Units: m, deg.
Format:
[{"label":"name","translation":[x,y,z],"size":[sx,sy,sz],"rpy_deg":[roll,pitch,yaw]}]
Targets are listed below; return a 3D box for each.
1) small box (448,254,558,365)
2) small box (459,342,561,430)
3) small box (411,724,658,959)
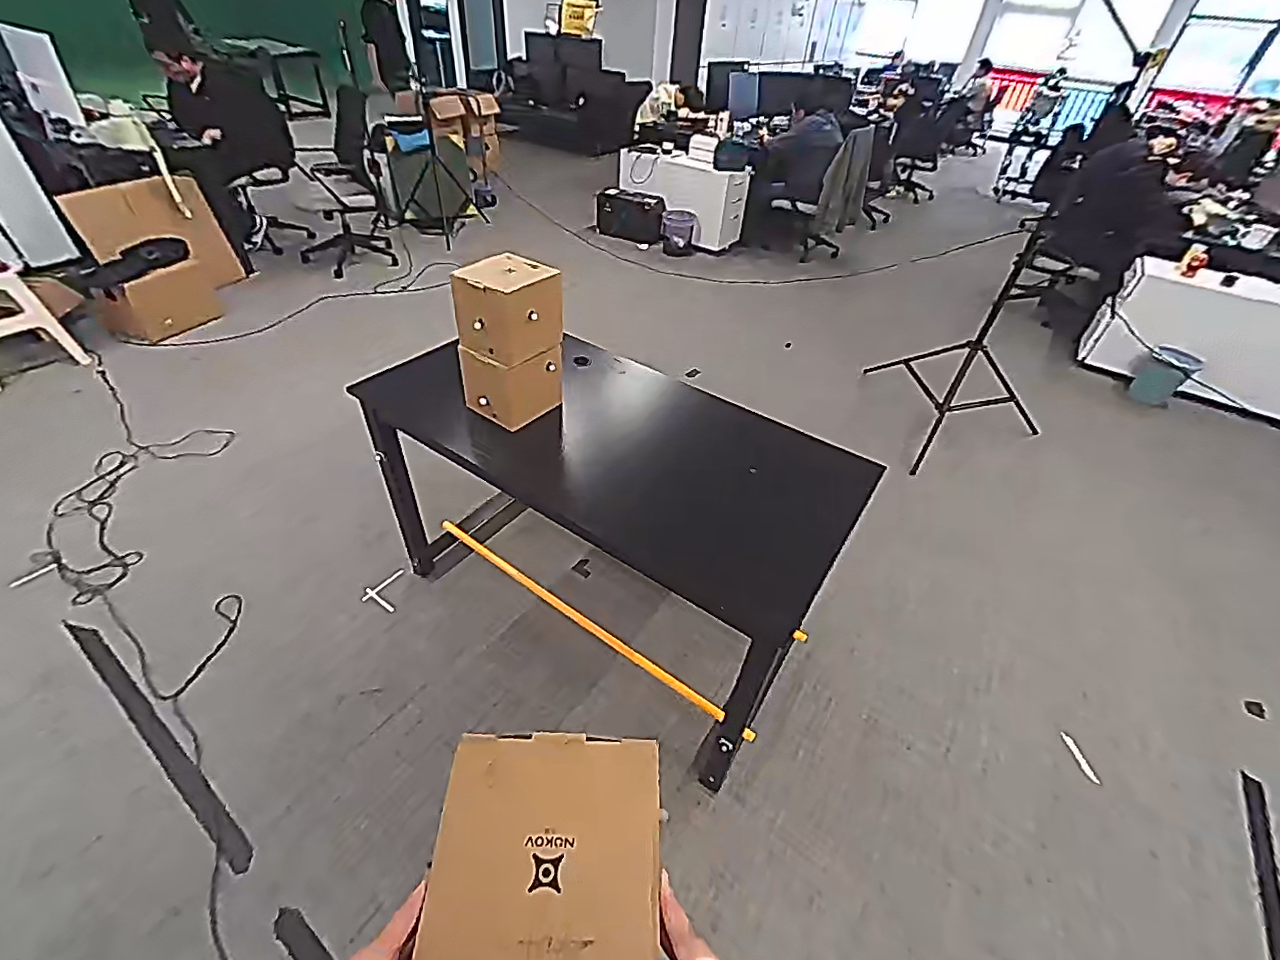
[{"label":"small box","translation":[-0.294,-0.379,1.206],"size":[0.168,0.176,0.179],"rpy_deg":[26,46,22]},{"label":"small box","translation":[-0.310,-0.250,1.308],"size":[0.168,0.176,0.179],"rpy_deg":[28,46,24]},{"label":"small box","translation":[-0.075,0.324,0.458],"size":[0.168,0.176,0.179],"rpy_deg":[3,52,-3]}]
